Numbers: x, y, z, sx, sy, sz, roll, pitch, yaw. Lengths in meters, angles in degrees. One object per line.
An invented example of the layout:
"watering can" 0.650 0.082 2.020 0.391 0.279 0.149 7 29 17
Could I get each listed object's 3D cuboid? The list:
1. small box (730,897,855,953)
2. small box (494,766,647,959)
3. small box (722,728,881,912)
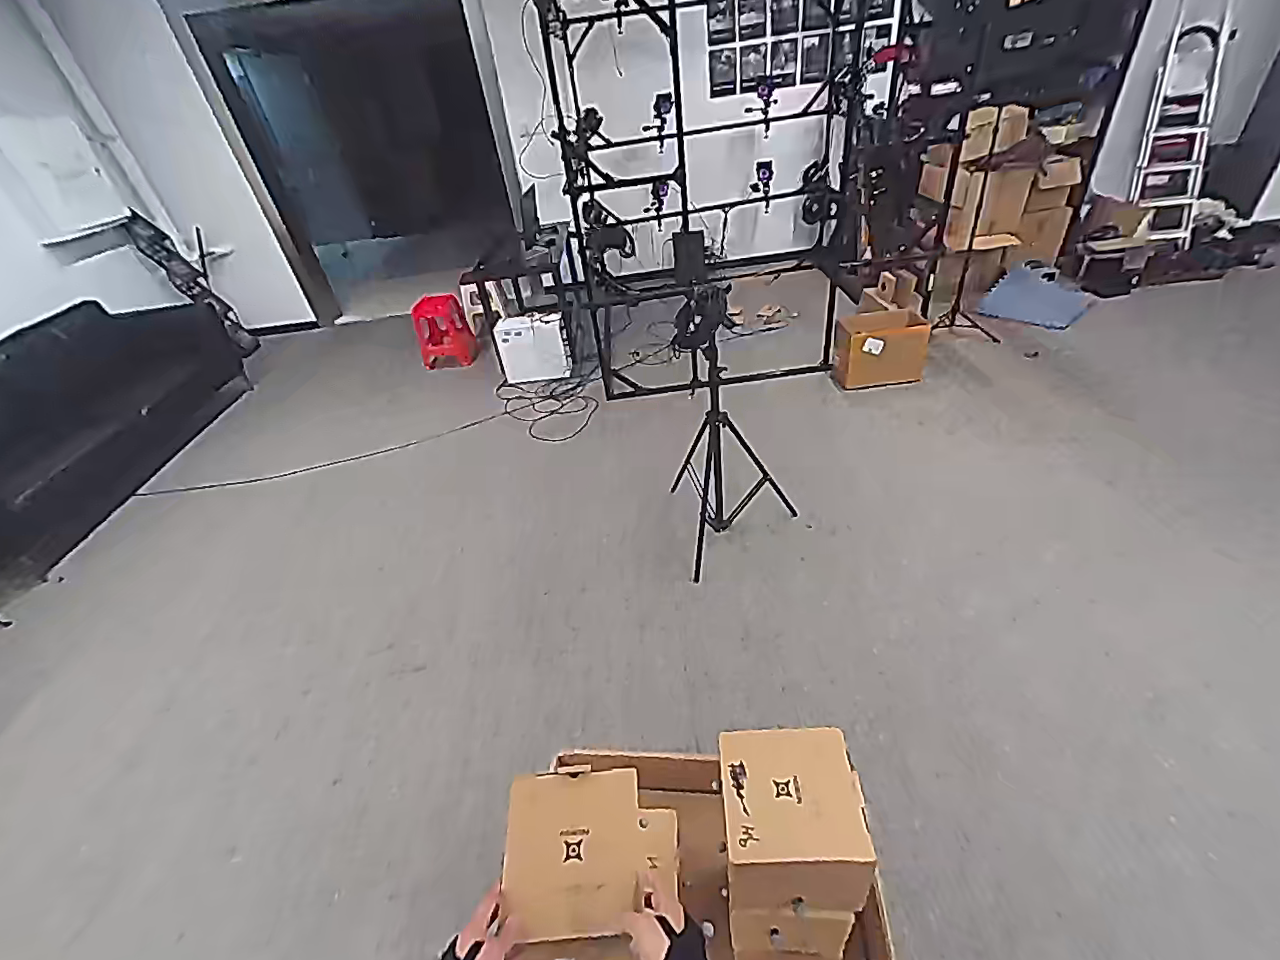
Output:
"small box" 0.222 0.596 0.834 0.168 0.176 0.179 -3 36 7
"small box" -0.082 0.494 0.691 0.168 0.176 0.179 -2 40 -4
"small box" 0.205 0.462 0.740 0.179 0.176 0.168 -4 35 6
